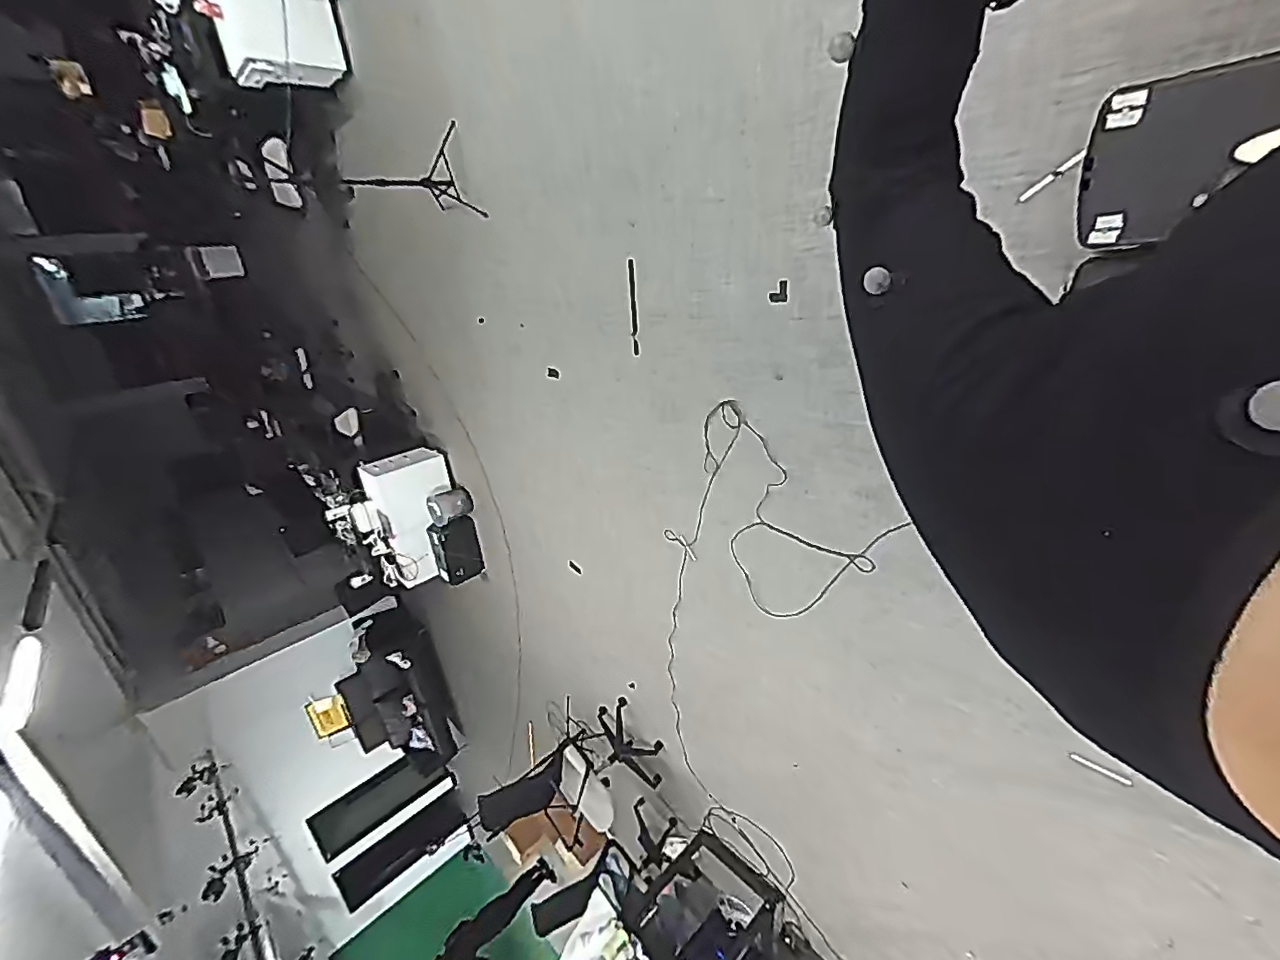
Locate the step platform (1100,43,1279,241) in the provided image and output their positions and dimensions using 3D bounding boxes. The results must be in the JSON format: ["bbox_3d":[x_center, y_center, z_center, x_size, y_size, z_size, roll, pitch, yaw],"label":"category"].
[{"bbox_3d":[1.181,-0.567,0.860,0.684,0.204,0.286,15,121,44],"label":"step platform"}]
